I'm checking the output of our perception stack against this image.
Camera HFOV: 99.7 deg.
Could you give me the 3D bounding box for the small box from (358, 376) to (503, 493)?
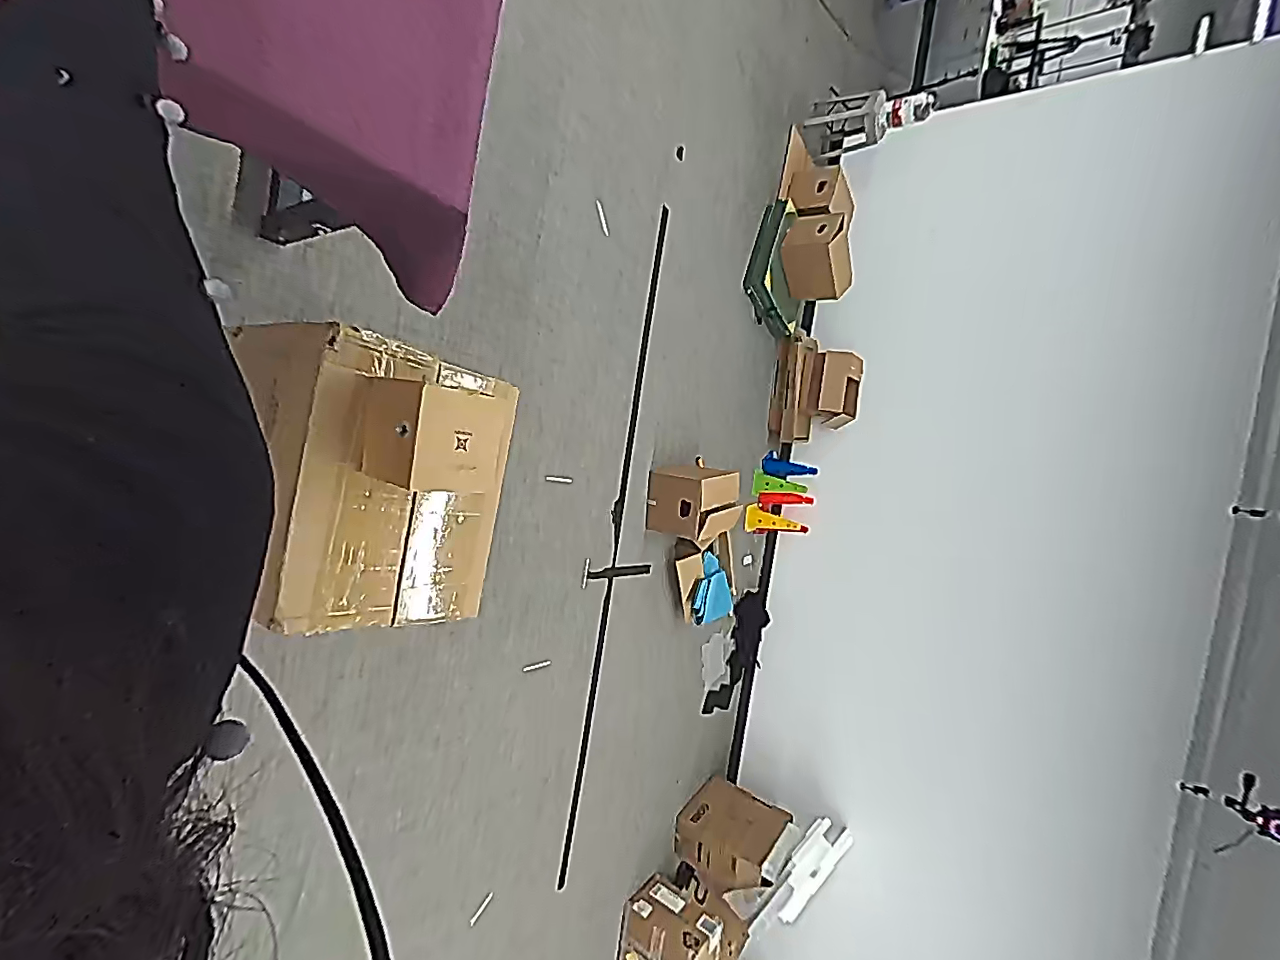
[{"bbox_3d":[-0.368,-0.080,0.945,0.168,0.176,0.179,5,96,-53],"label":"small box"}]
